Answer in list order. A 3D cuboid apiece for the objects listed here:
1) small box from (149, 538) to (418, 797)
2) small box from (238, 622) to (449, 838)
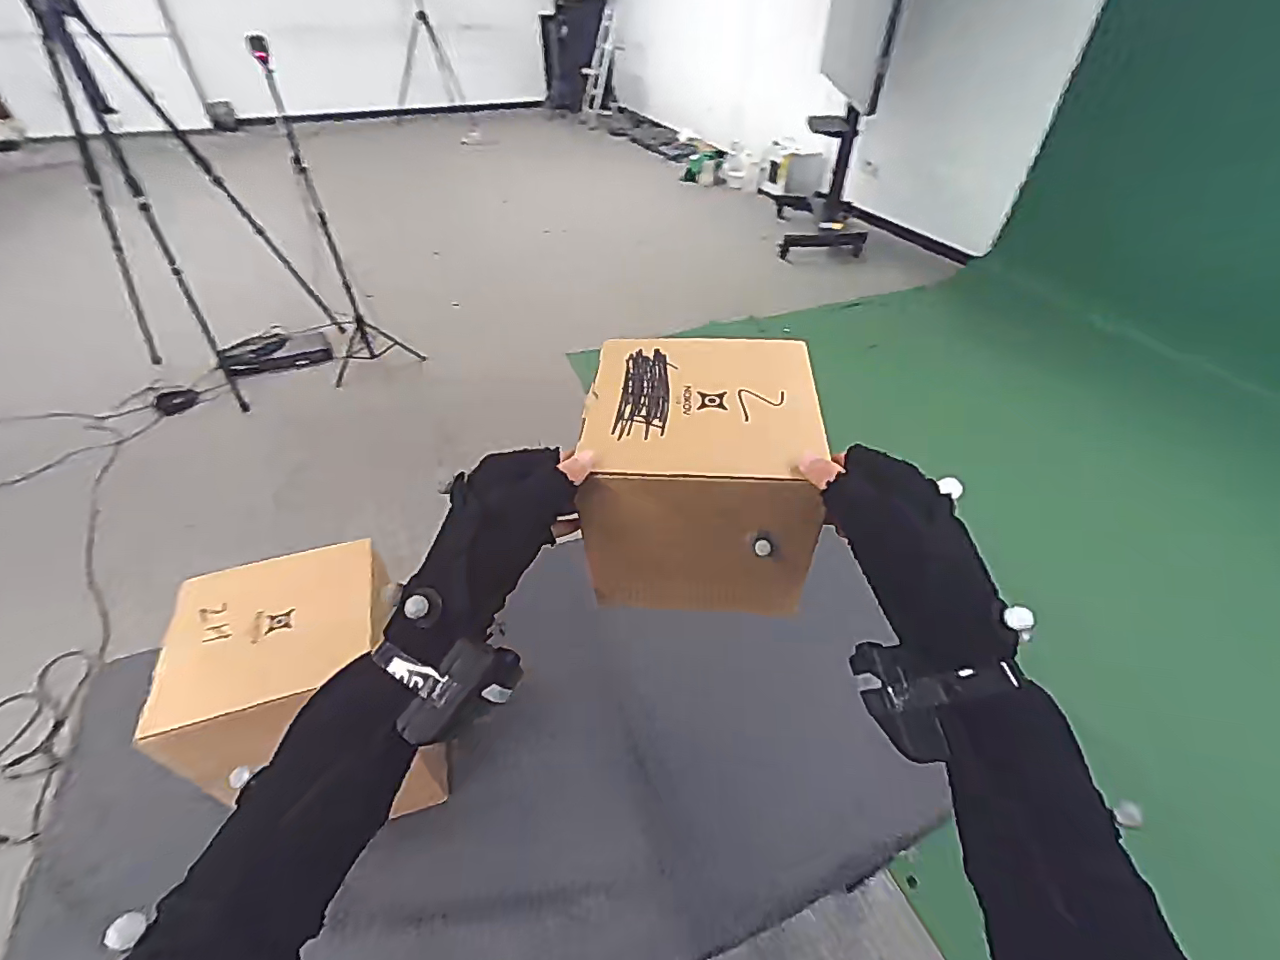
[{"bbox_3d":[-0.337,0.190,0.559,0.179,0.176,0.168,-13,44,-16],"label":"small box"},{"bbox_3d":[-0.349,0.310,0.672,0.179,0.176,0.168,-11,44,-15],"label":"small box"}]
